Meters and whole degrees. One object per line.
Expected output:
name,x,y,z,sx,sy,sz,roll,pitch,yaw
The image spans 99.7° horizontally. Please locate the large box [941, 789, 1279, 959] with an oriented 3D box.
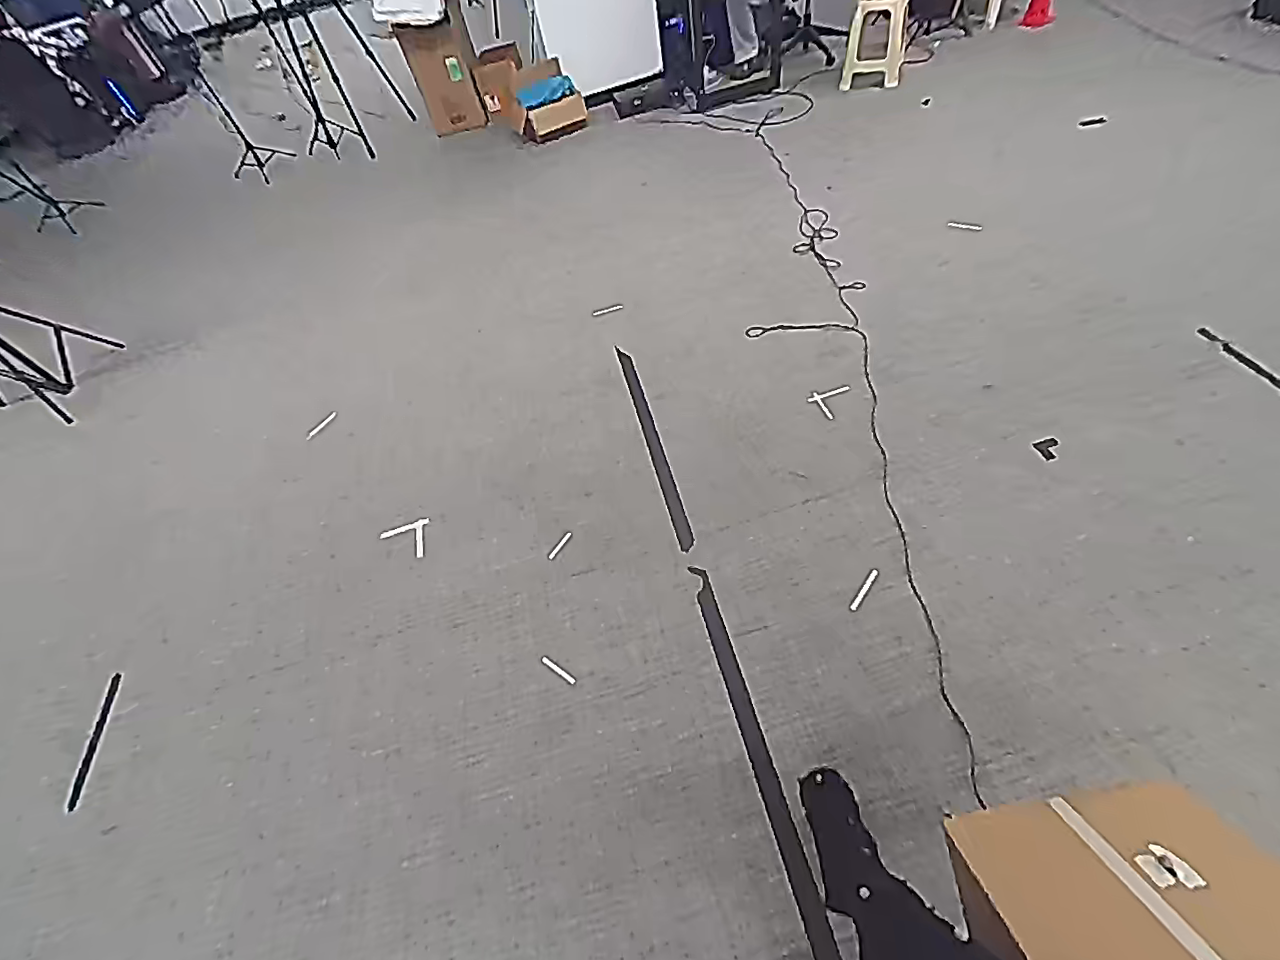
large box,0.613,0.636,0.596,0.320,0.408,0.320,-13,94,6
